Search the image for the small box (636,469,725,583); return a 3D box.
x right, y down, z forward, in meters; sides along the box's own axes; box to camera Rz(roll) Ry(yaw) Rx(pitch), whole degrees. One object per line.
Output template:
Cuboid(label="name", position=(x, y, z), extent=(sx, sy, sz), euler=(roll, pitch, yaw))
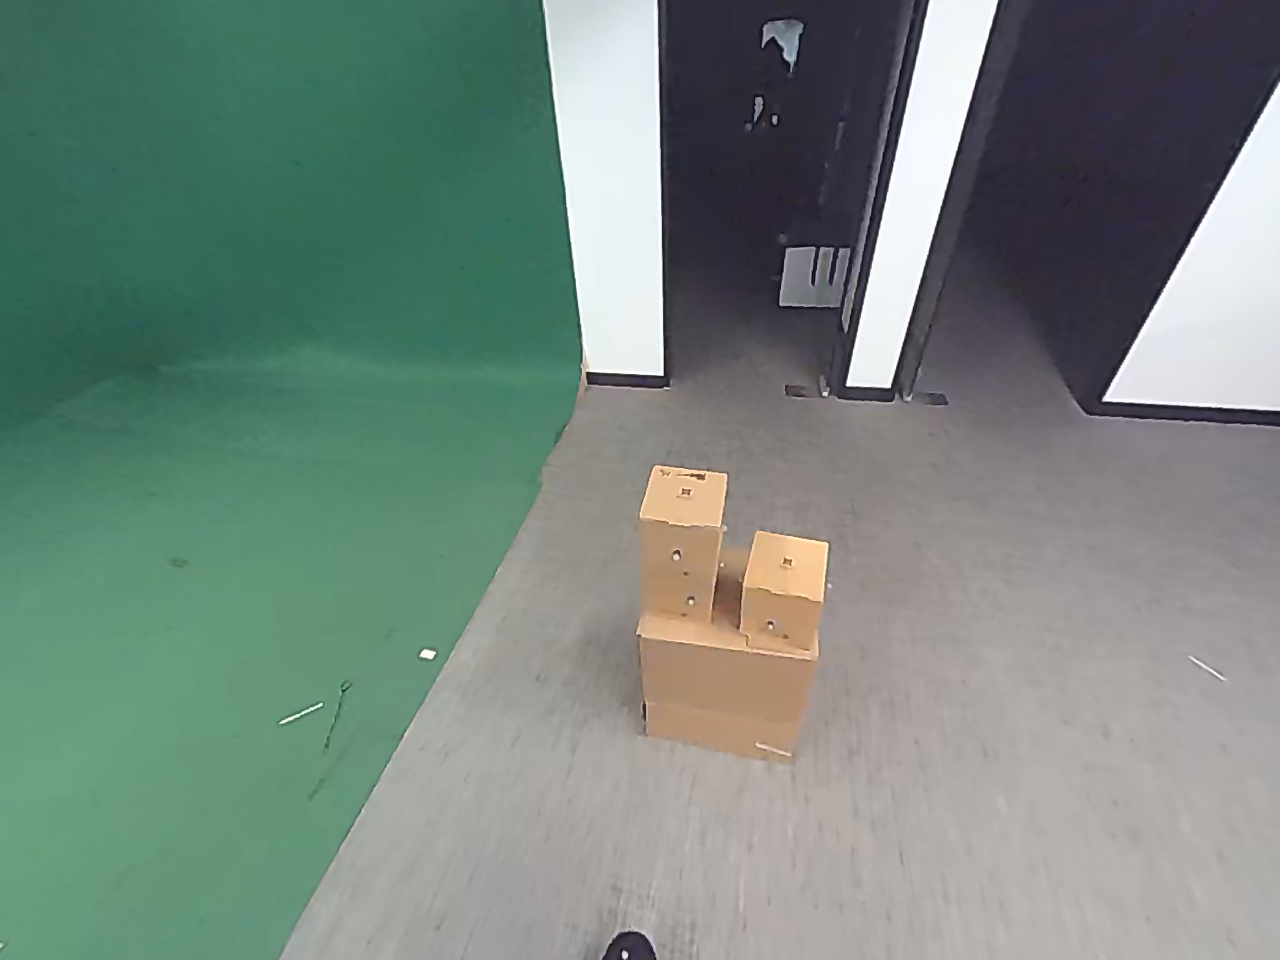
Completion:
Cuboid(label="small box", position=(0.090, 0.100, 1.174), extent=(0.168, 0.176, 0.179), euler=(7, 41, 9))

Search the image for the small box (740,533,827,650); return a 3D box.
Cuboid(label="small box", position=(0.323, 0.251, 1.229), extent=(0.168, 0.176, 0.179), euler=(8, 40, 16))

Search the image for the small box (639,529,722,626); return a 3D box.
Cuboid(label="small box", position=(0.099, 0.221, 1.286), extent=(0.168, 0.176, 0.179), euler=(8, 40, 10))
